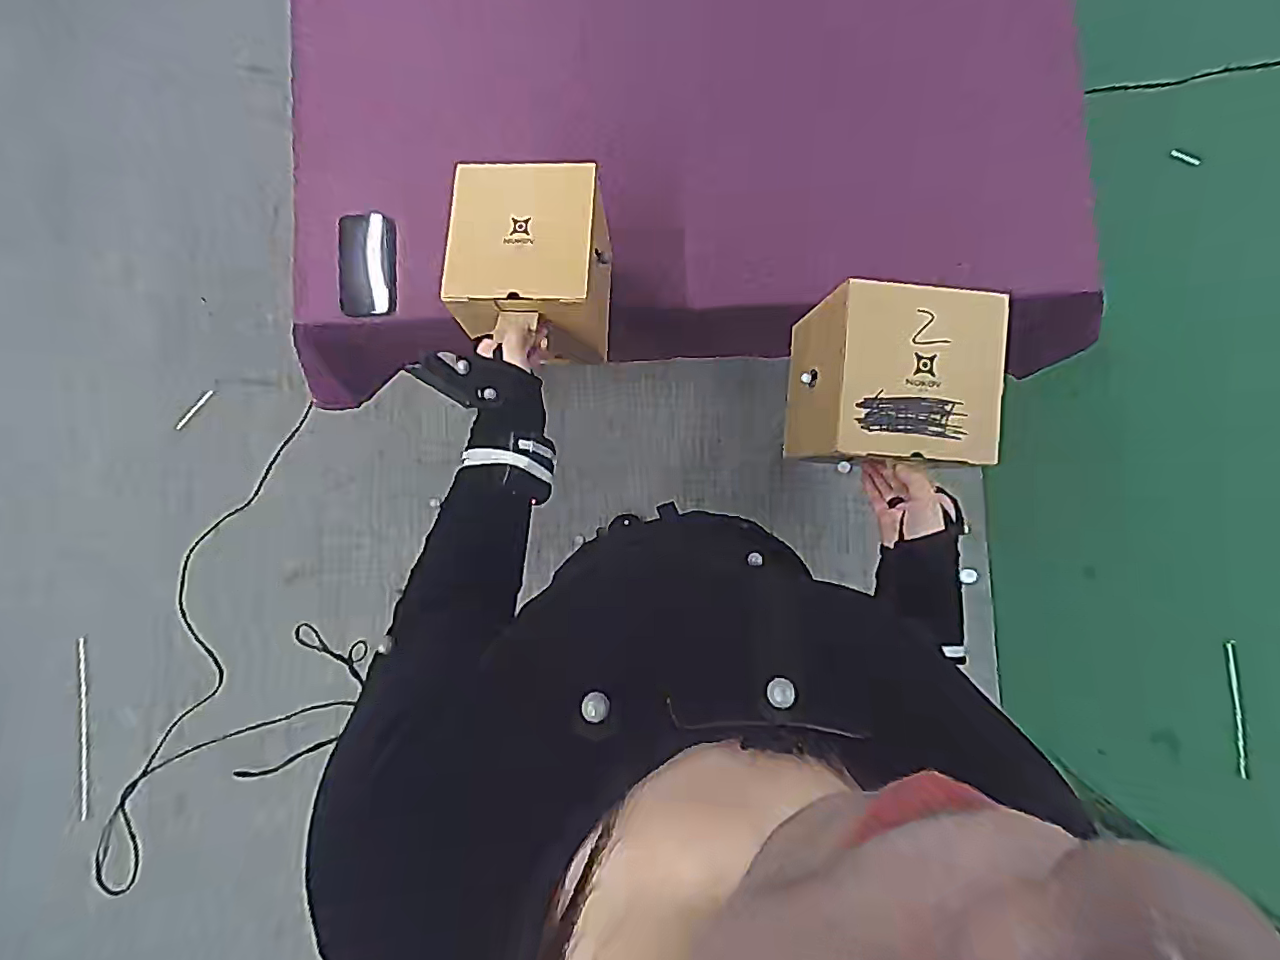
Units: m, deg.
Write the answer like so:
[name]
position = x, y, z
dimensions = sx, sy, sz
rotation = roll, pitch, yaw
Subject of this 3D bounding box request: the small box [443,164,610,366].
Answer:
[small box]
position = -0.130, -0.263, 0.688
dimensions = 0.168, 0.176, 0.179
rotation = 2, 78, 3
